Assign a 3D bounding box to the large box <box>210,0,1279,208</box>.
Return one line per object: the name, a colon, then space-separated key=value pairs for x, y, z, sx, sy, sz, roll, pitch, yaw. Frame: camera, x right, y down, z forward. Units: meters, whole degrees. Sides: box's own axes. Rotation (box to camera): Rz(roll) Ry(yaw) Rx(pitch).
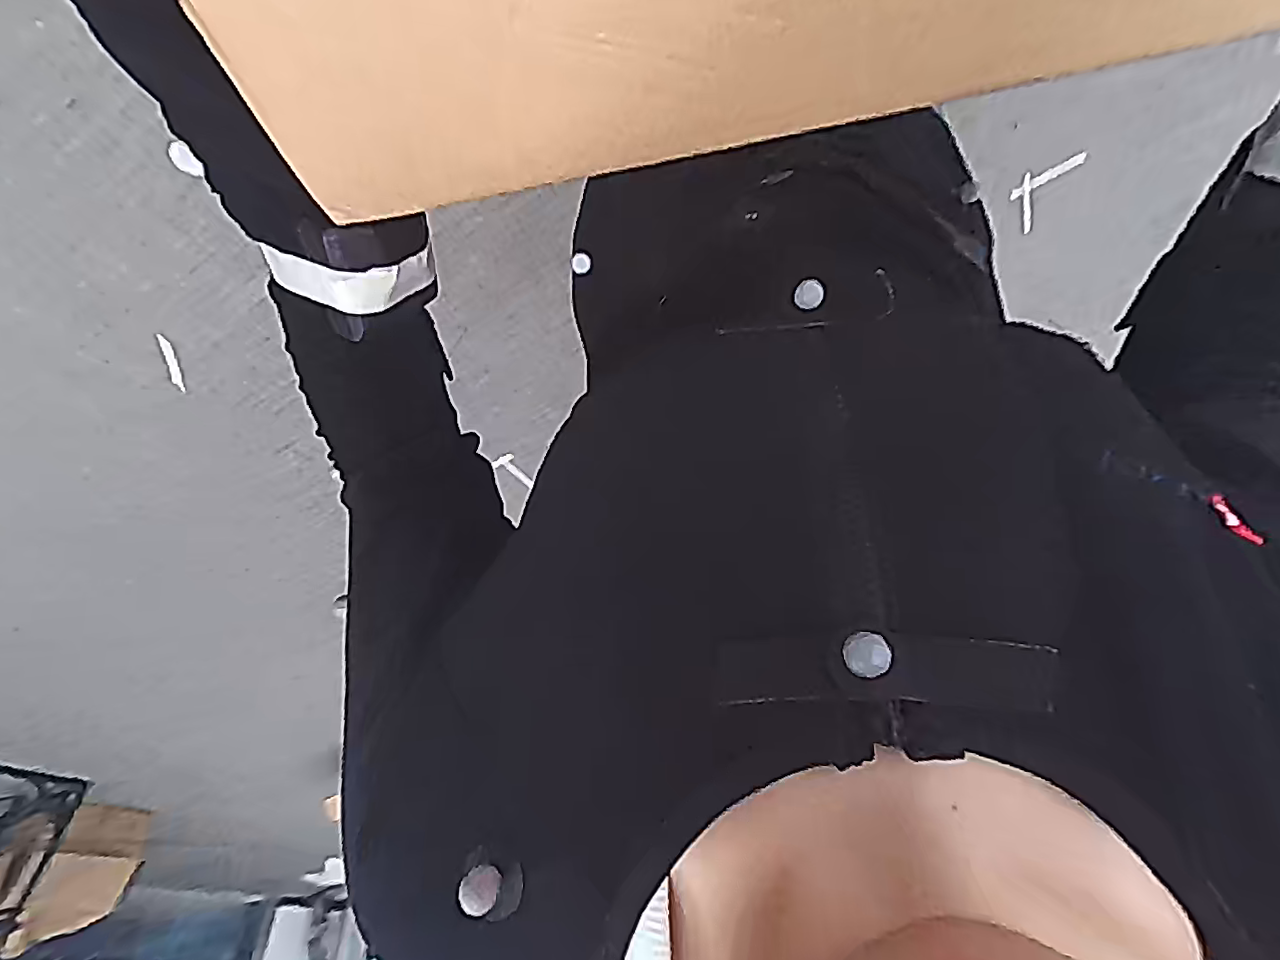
large box: x=0.037 y=-0.350 z=0.166 sx=0.408 sy=0.320 sz=0.320 roll=-6 pitch=144 yaw=9
